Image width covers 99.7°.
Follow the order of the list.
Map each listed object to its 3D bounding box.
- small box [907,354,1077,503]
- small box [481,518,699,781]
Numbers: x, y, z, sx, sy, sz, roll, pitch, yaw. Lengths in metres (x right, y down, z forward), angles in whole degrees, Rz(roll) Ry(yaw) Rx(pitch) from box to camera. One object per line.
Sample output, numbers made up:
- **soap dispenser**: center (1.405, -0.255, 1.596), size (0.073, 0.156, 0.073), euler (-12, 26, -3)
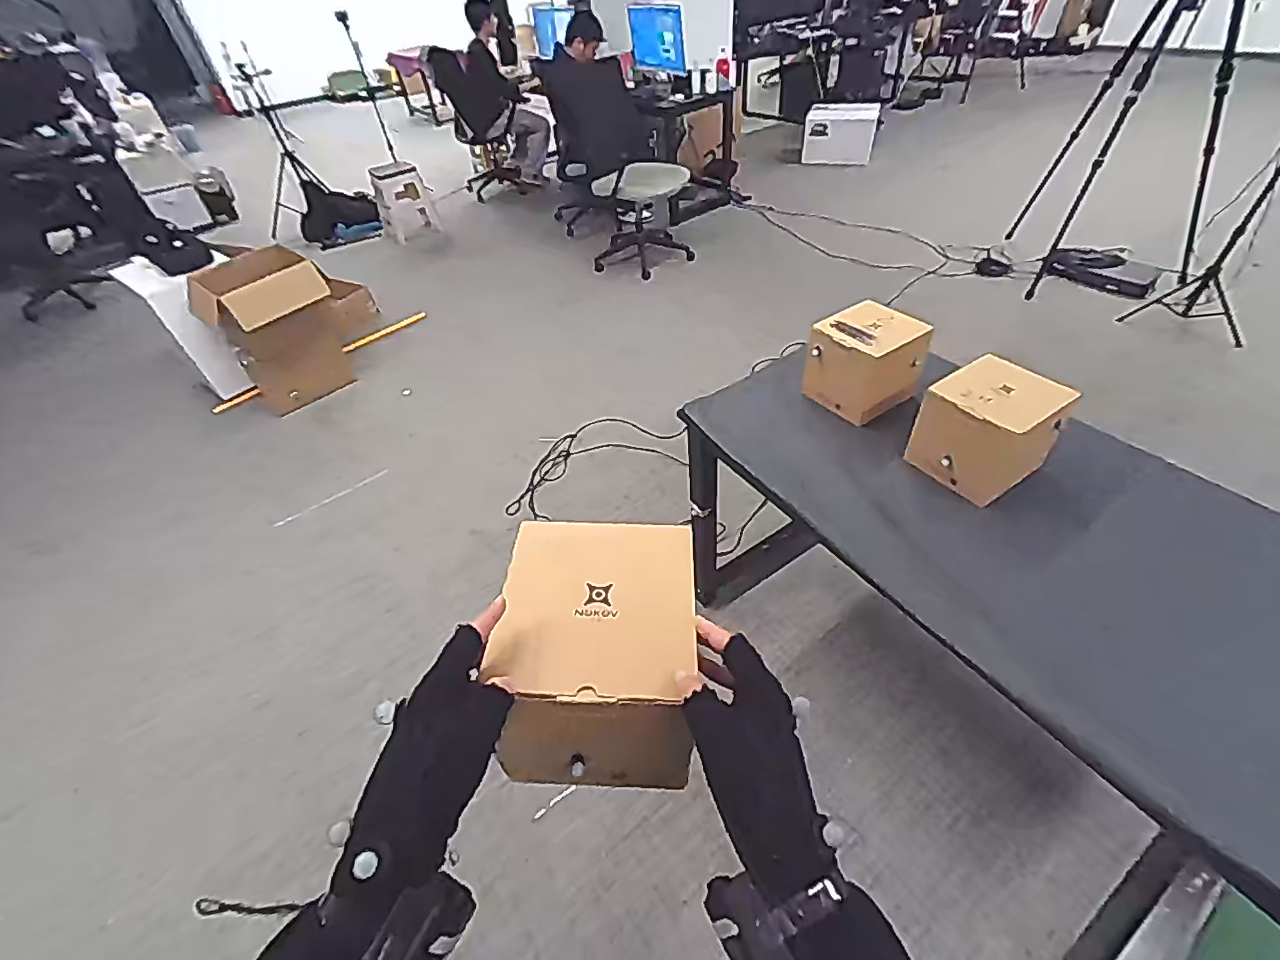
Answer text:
- **small box**: center (0.614, -0.092, 0.968), size (0.179, 0.176, 0.168), euler (-28, 48, -19)
- **small box**: center (-0.035, 0.158, 0.511), size (0.168, 0.176, 0.179), euler (2, 43, 1)
